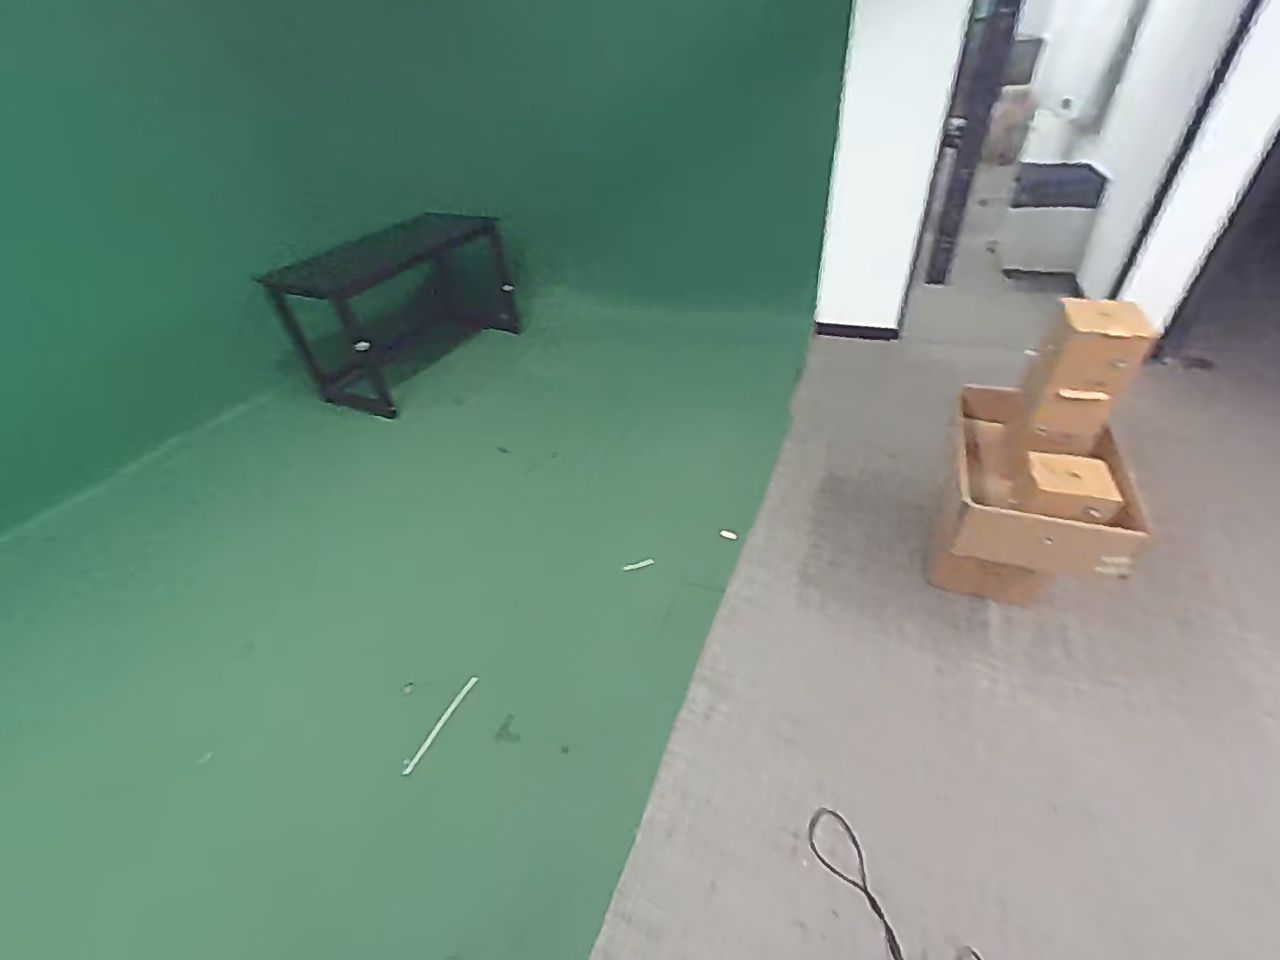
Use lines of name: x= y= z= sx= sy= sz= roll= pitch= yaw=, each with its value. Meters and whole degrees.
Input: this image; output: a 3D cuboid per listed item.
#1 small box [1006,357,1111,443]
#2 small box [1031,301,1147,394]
small box: x=1.148 y=-0.220 z=1.500 sx=0.168 sy=0.176 sz=0.179 roll=7 pitch=44 yaw=16
small box: x=1.139 y=-0.338 z=1.388 sx=0.168 sy=0.176 sz=0.179 roll=10 pitch=45 yaw=17
